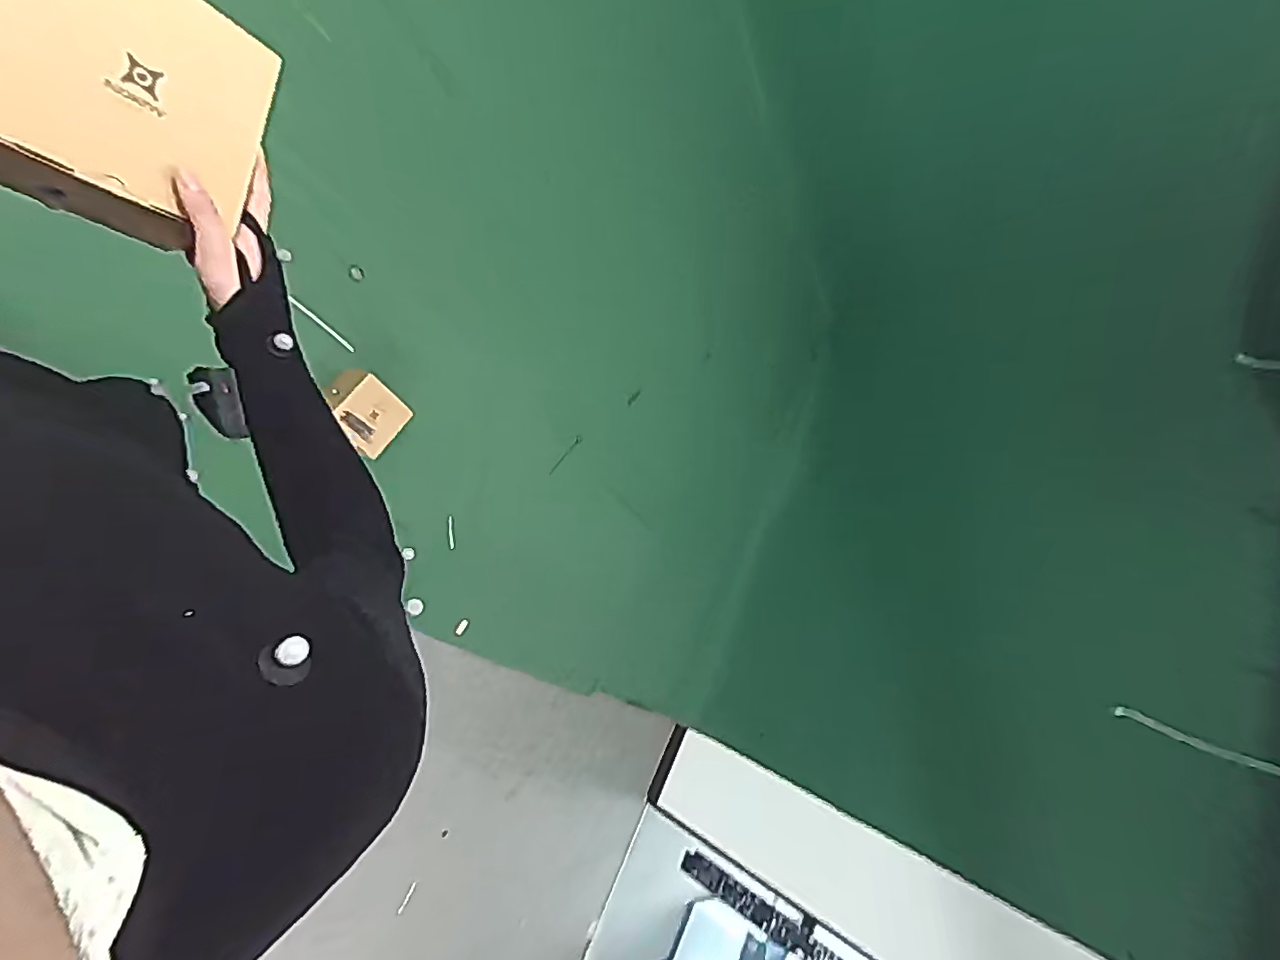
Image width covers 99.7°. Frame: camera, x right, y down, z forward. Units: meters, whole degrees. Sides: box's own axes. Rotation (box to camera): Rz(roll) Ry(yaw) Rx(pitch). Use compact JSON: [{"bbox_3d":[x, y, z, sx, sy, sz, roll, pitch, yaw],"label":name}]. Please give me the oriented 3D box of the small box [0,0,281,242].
[{"bbox_3d":[-0.447,-0.324,0.456,0.168,0.176,0.179,14,91,-58],"label":"small box"}]
